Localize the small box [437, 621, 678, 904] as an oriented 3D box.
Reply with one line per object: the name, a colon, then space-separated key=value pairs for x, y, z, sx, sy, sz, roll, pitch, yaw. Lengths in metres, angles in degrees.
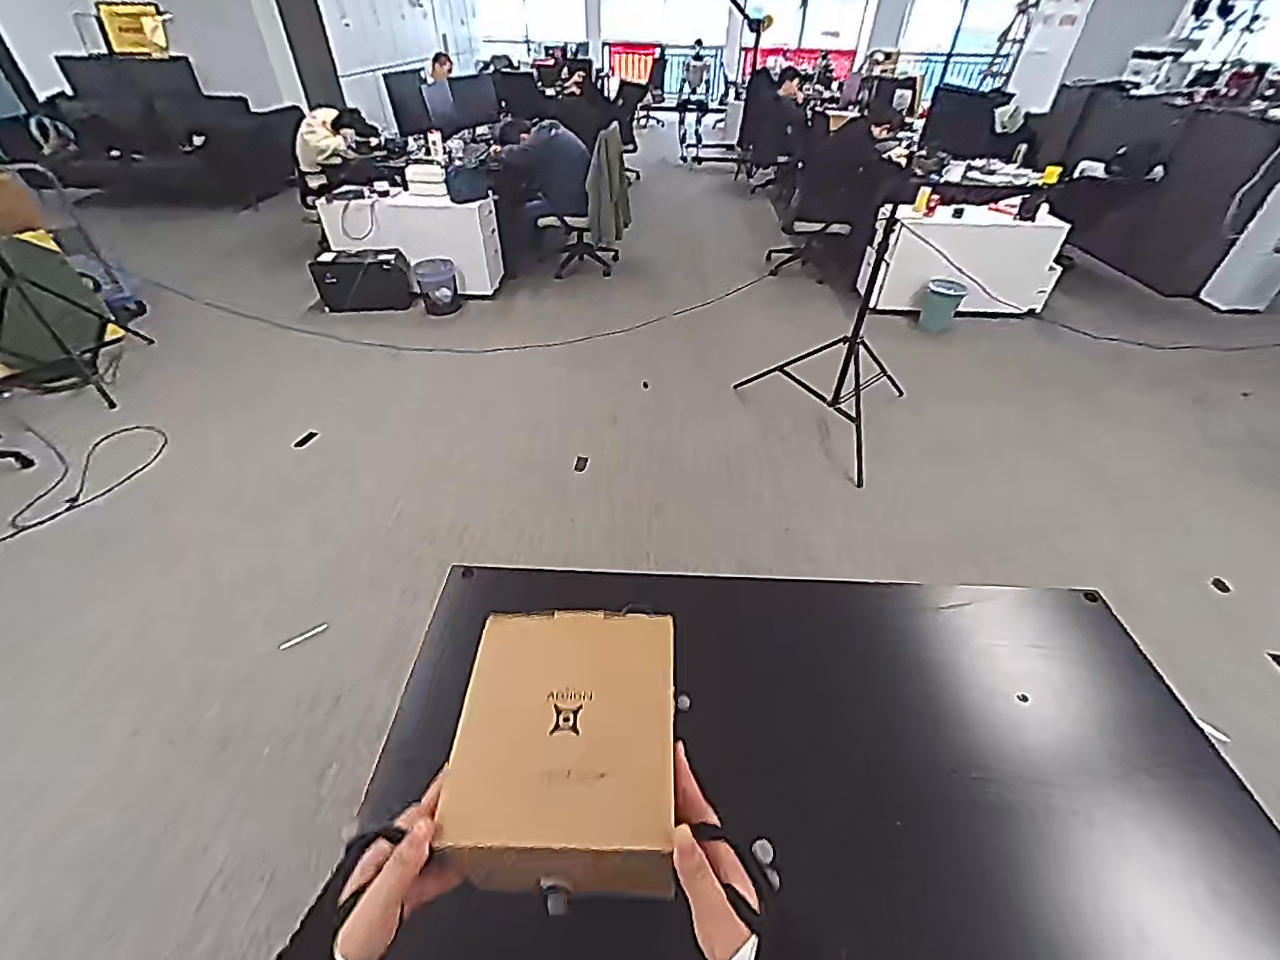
small box: x=-0.052 y=0.244 z=0.475 sx=0.168 sy=0.176 sz=0.179 roll=-1 pitch=43 yaw=3
